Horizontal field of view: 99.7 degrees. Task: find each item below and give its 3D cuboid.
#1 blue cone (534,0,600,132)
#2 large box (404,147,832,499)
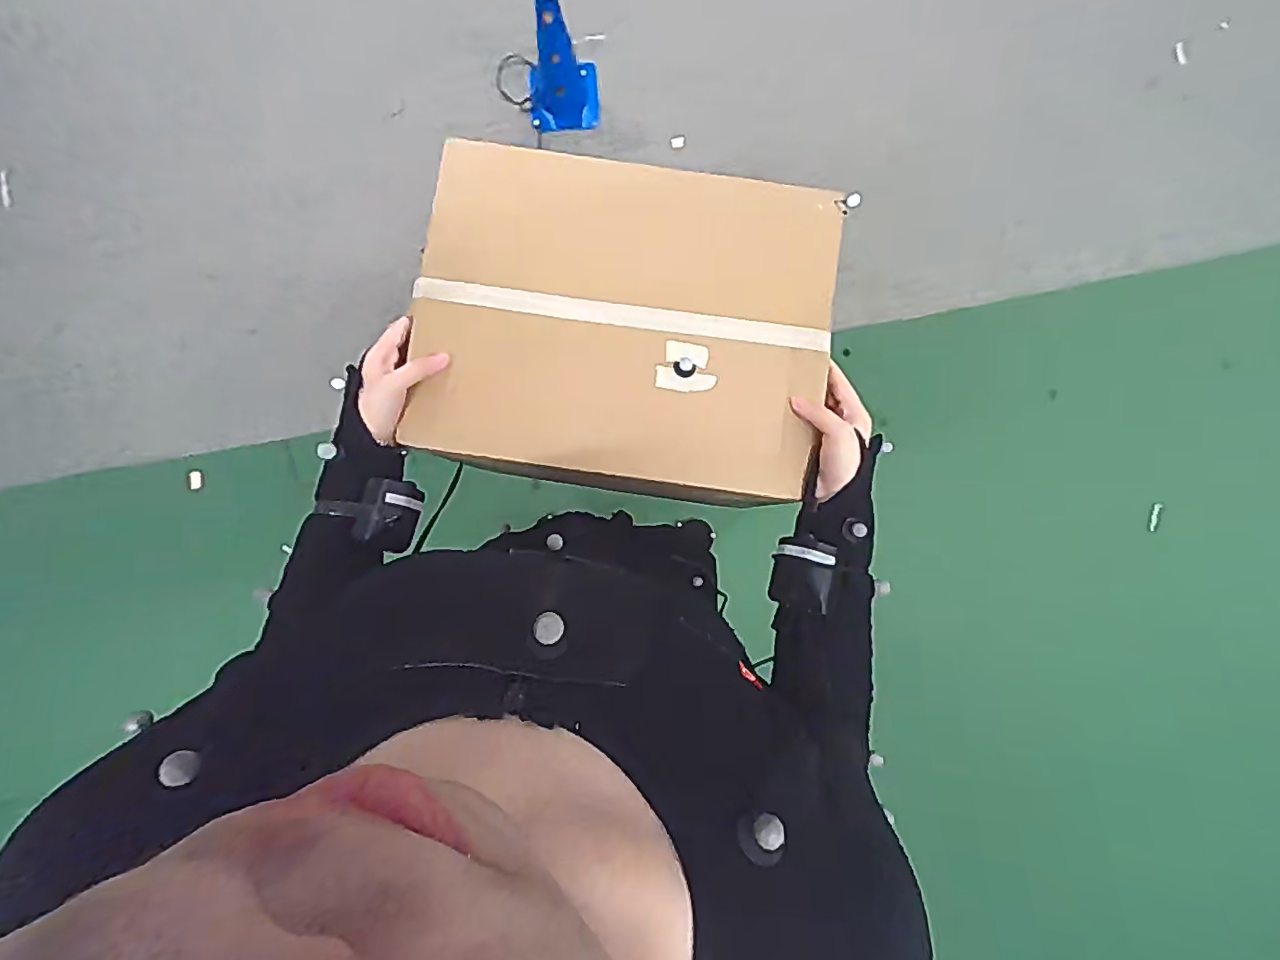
[{"bbox_3d":[-0.215,-1.119,1.416,0.193,0.380,0.192,-2,88,0],"label":"blue cone"},{"bbox_3d":[-0.022,-0.154,0.685,0.408,0.320,0.320,7,86,-1],"label":"large box"}]
